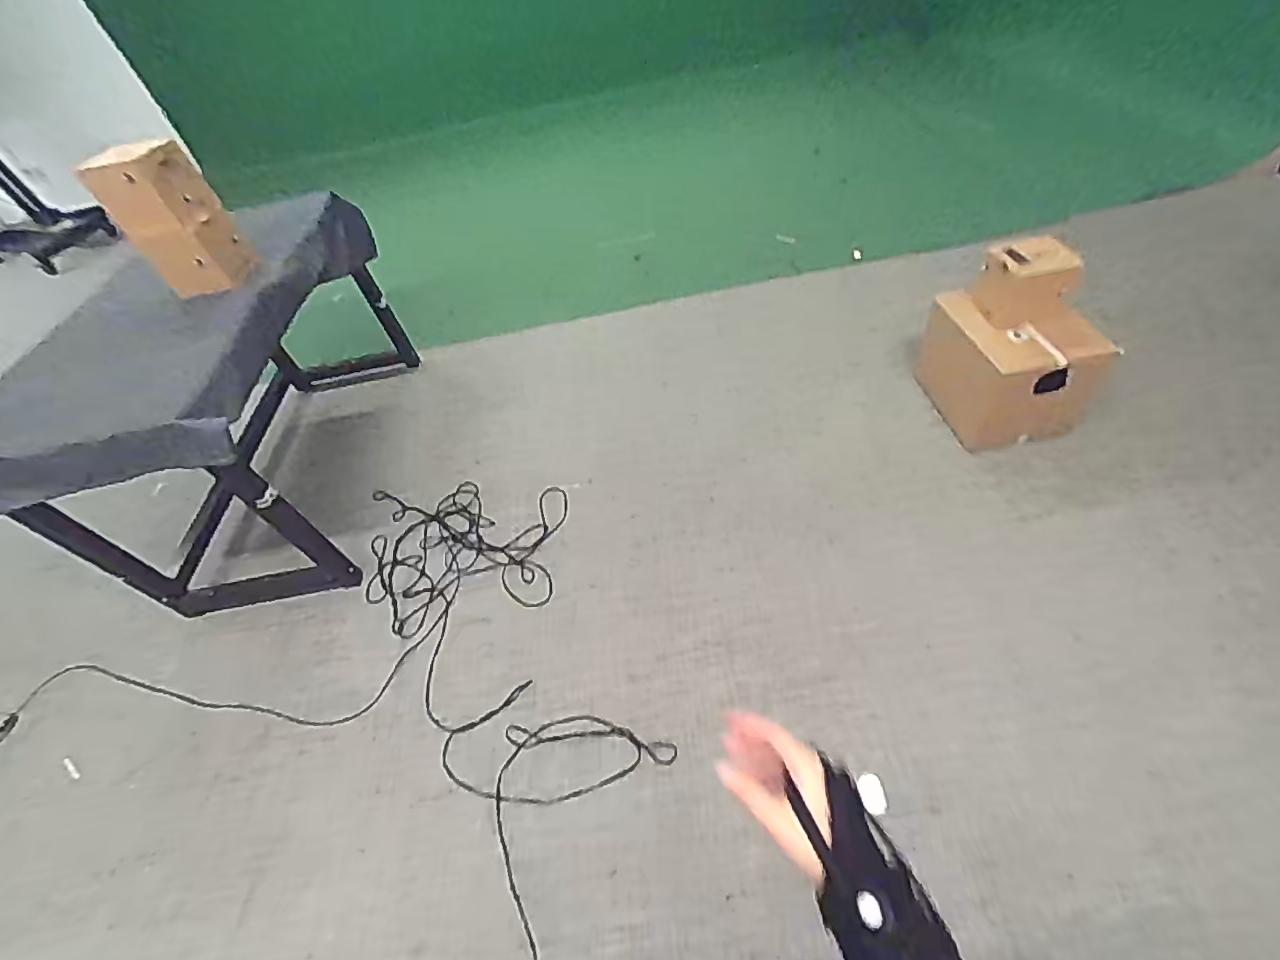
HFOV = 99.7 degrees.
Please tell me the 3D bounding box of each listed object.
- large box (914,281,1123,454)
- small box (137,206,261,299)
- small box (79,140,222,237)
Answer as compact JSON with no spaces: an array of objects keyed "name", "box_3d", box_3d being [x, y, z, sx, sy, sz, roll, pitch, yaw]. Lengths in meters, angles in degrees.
[{"name":"large box","box_3d":[1.112,-0.346,1.658,0.320,0.320,0.408,-12,50,3]},{"name":"small box","box_3d":[-1.211,-0.628,1.504,0.179,0.176,0.168,-9,48,6]},{"name":"small box","box_3d":[-1.252,-0.748,1.398,0.179,0.176,0.168,-4,48,8]}]
